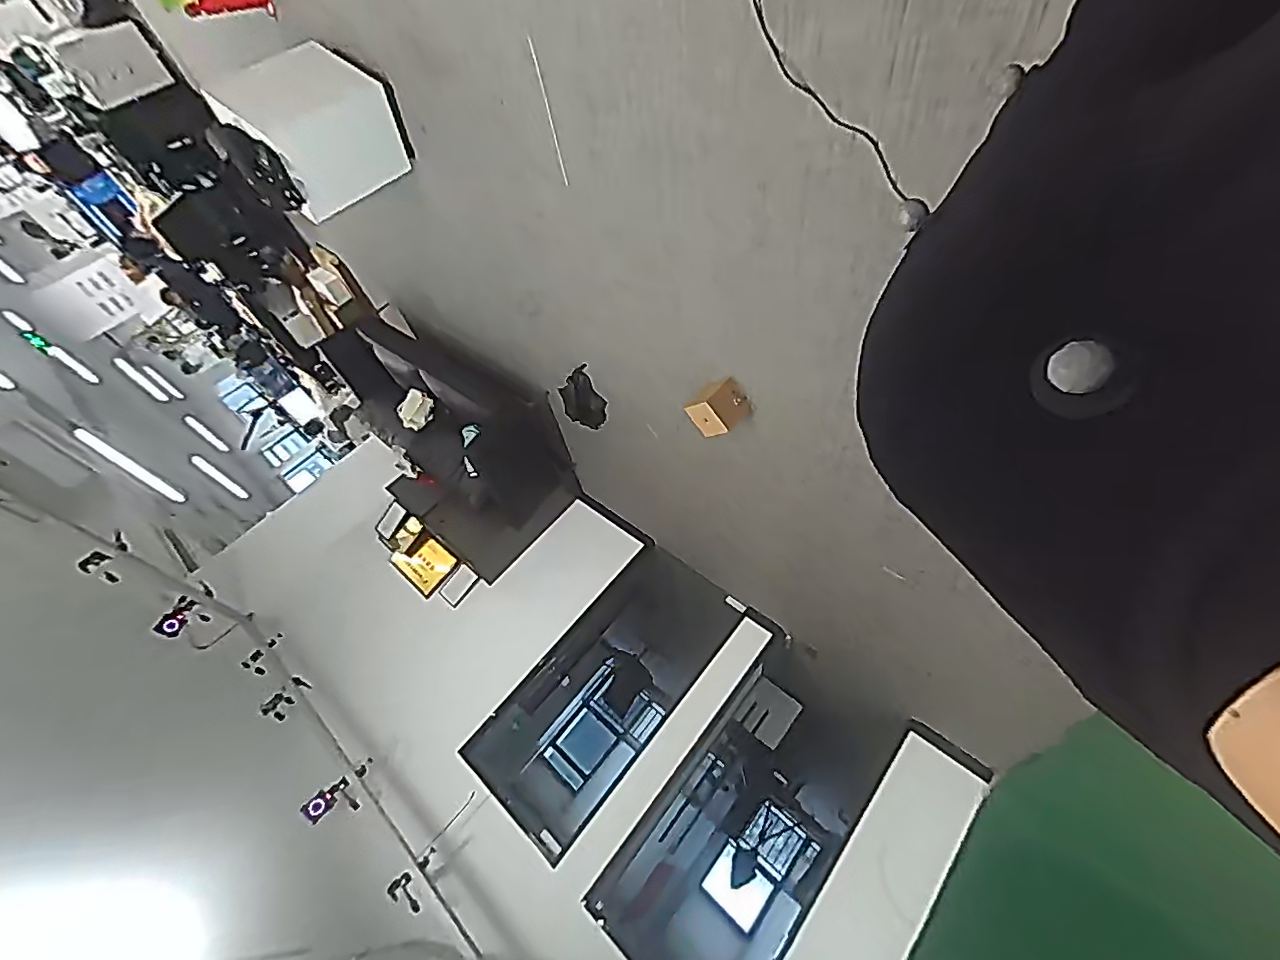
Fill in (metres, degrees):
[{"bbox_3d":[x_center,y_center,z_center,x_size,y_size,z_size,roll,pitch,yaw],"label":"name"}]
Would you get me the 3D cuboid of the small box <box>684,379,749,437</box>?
[{"bbox_3d":[0.328,-0.305,2.297,0.168,0.176,0.179,49,157,-16],"label":"small box"}]
